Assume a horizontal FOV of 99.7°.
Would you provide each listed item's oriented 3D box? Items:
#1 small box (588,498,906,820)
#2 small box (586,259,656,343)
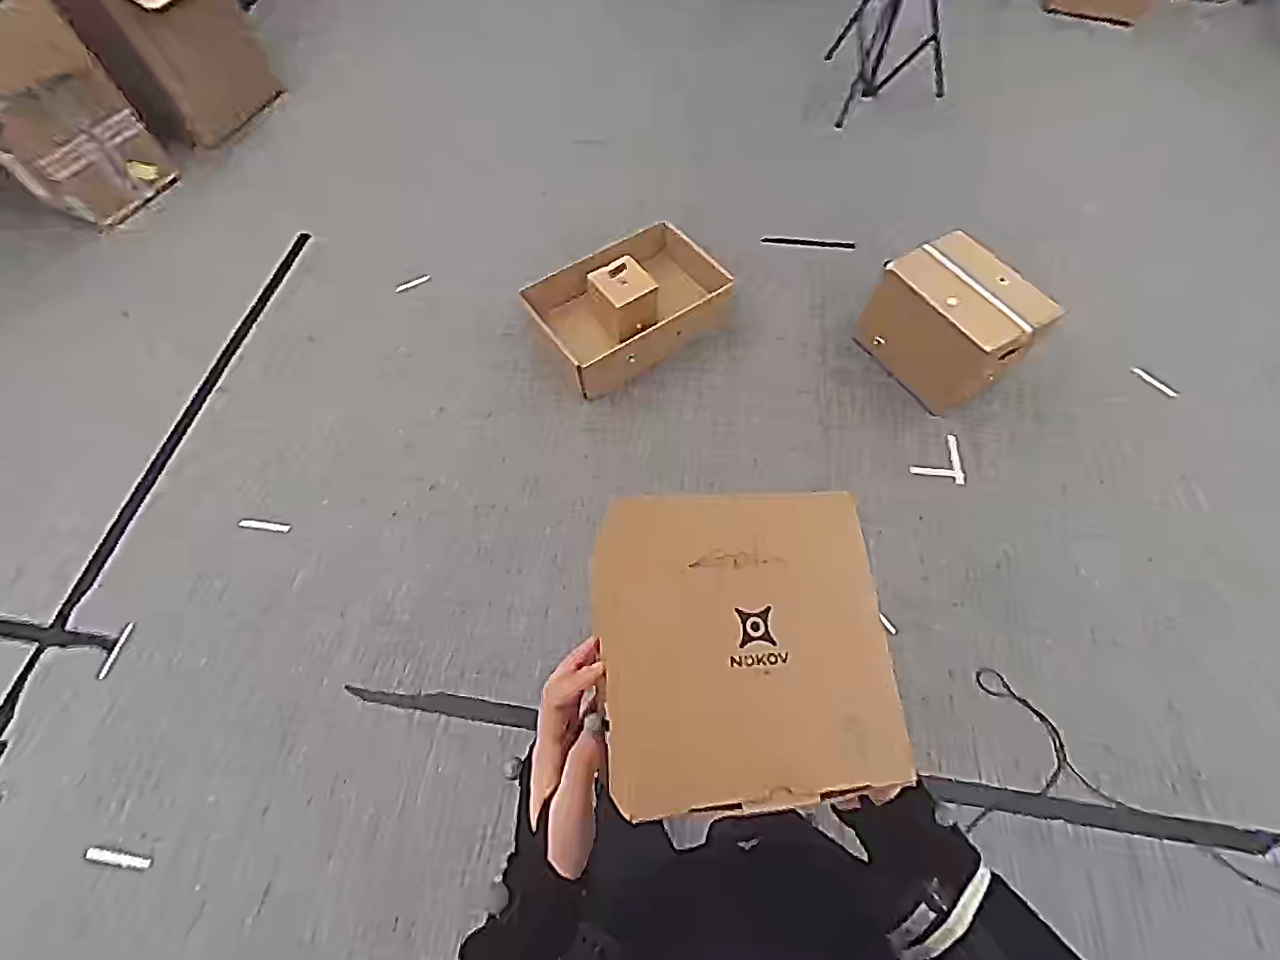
[{"bbox_3d":[0.052,0.121,0.393,0.168,0.176,0.179,0,68,-11],"label":"small box"},{"bbox_3d":[-0.065,-0.595,1.810,0.168,0.176,0.179,-33,67,-16],"label":"small box"}]
